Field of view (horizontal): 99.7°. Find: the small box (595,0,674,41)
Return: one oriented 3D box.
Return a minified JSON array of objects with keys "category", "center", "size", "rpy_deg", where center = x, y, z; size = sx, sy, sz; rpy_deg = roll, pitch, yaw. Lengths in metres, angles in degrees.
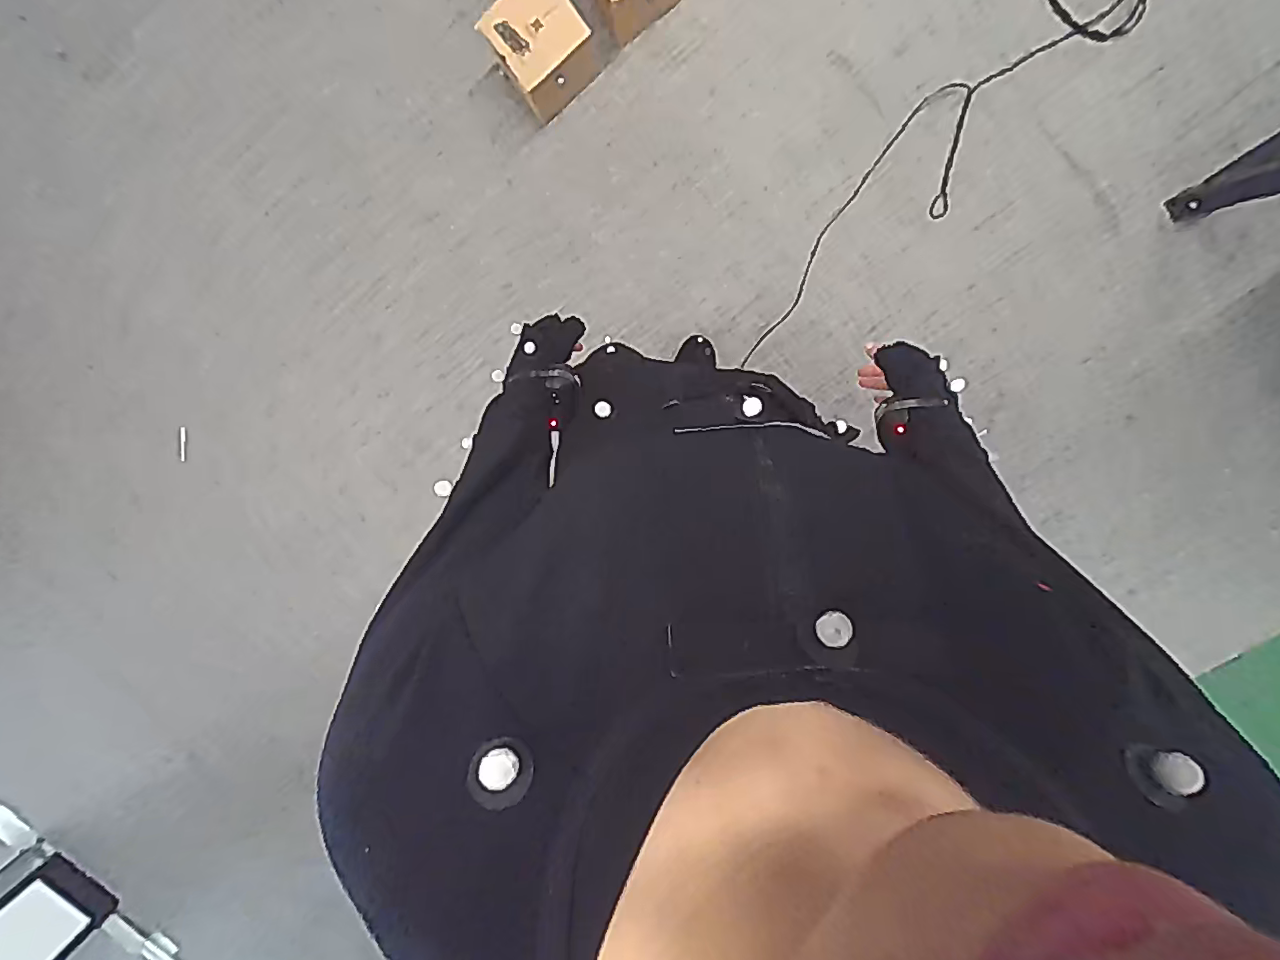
[{"category":"small box","center":[-0.020,-1.087,1.130],"size":[0.179,0.176,0.168],"rpy_deg":[-32,101,11]}]

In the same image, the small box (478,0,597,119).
[{"category":"small box","center":[-0.211,-0.939,1.175],"size":[0.179,0.176,0.168],"rpy_deg":[-37,100,10]}]
